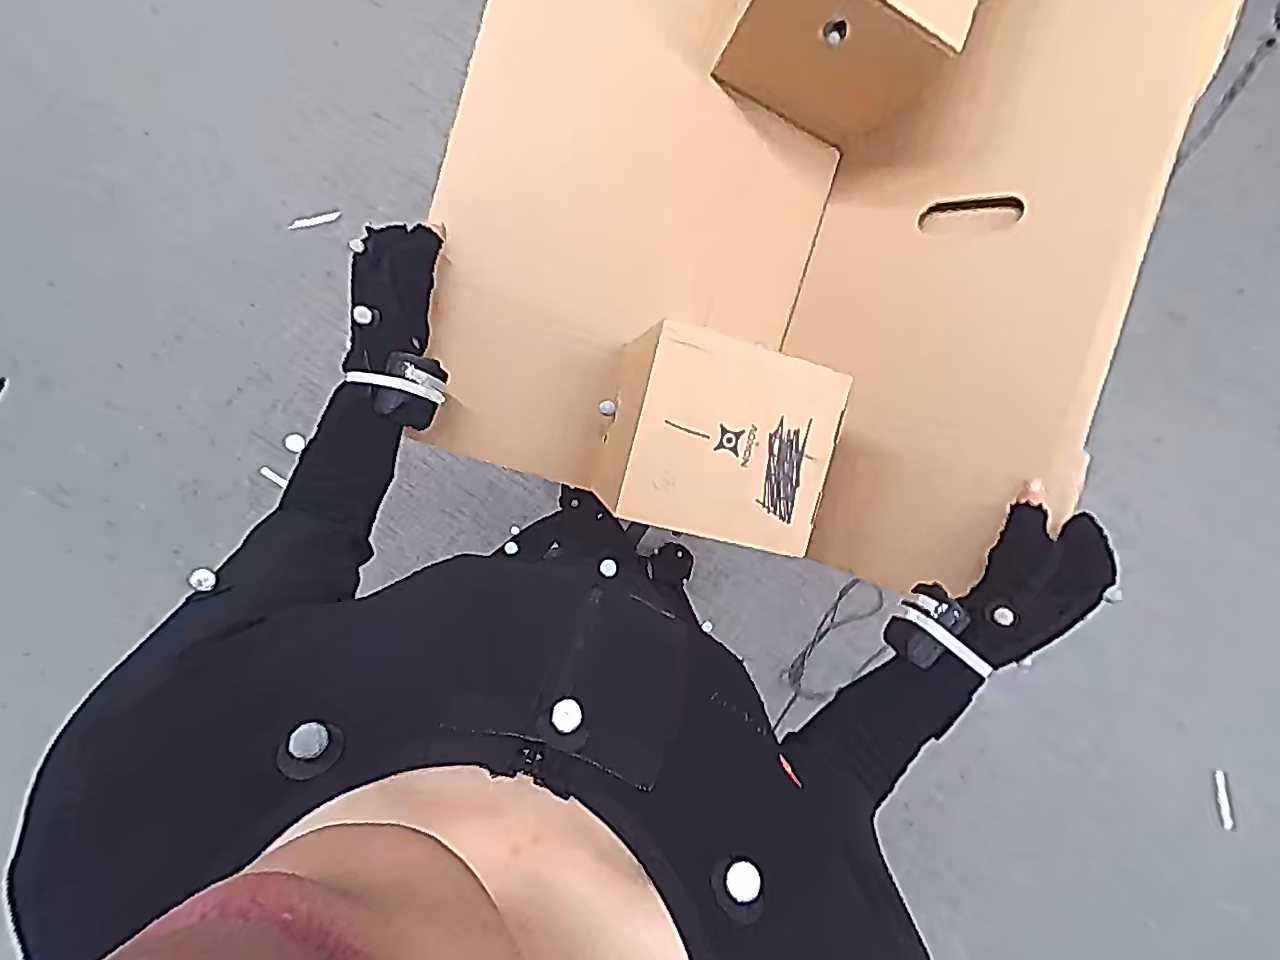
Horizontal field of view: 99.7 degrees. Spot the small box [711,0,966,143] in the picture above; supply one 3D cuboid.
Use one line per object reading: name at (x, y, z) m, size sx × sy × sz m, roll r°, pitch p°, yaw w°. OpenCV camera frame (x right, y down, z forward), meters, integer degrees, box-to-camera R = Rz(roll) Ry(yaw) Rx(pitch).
small box at (0.190, -0.468, 0.517) m, size 0.179 × 0.176 × 0.168 m, roll 20°, pitch 91°, yaw -15°
